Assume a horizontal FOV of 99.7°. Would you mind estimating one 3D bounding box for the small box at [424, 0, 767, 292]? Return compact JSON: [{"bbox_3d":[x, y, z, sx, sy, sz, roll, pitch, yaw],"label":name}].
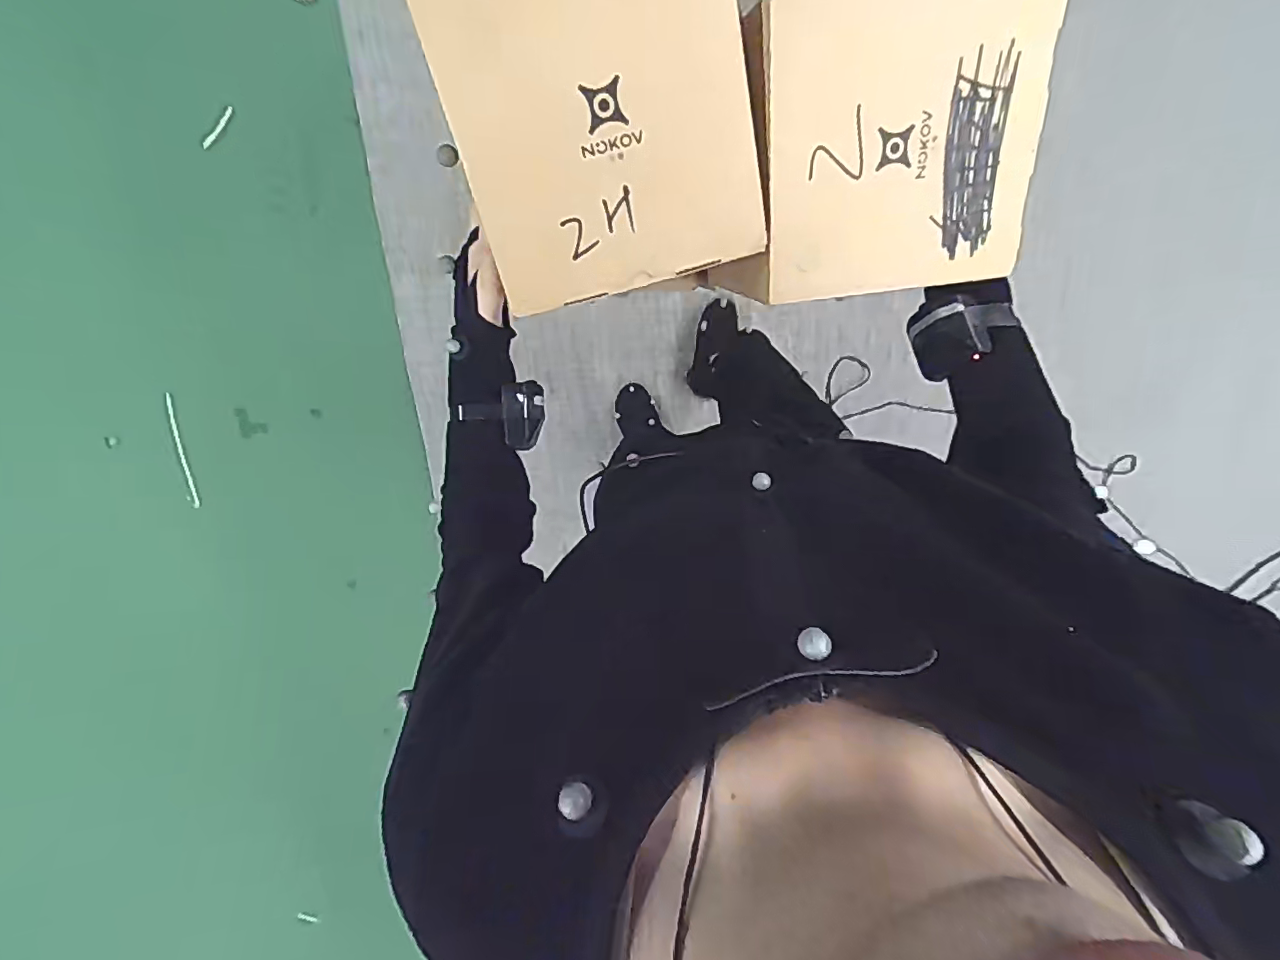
[{"bbox_3d":[-0.031,-0.238,0.366,0.168,0.176,0.179,-15,115,-3],"label":"small box"}]
